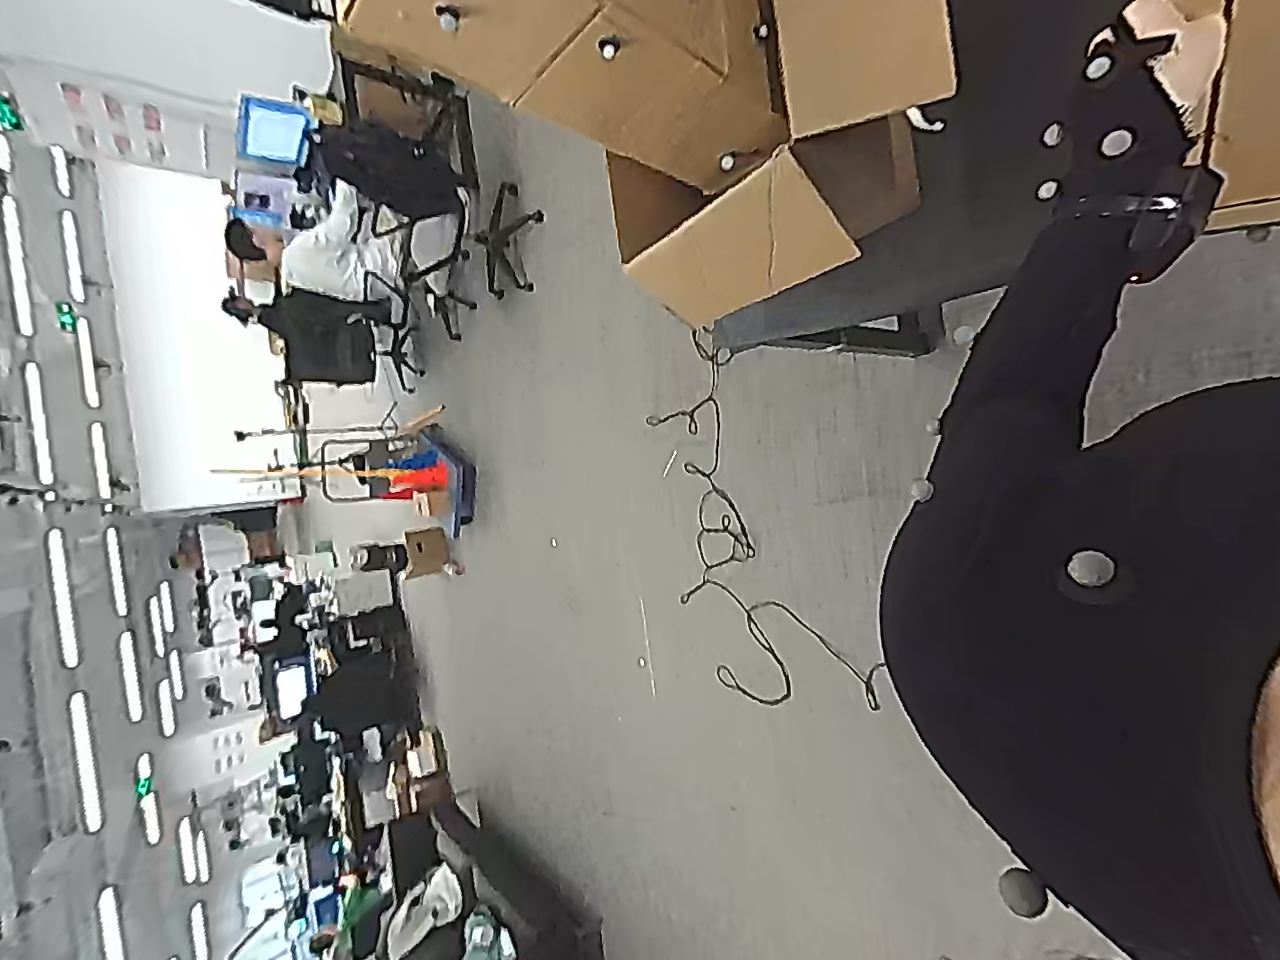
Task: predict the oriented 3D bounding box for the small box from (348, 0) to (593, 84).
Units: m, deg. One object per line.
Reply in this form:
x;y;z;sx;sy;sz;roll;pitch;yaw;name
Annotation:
-0.147;-0.498;0.471;0.179;0.176;0.168;-2;93;47;small box

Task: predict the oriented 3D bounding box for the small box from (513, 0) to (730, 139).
-0.027;-0.511;0.583;0.179;0.176;0.168;-5;92;47;small box
